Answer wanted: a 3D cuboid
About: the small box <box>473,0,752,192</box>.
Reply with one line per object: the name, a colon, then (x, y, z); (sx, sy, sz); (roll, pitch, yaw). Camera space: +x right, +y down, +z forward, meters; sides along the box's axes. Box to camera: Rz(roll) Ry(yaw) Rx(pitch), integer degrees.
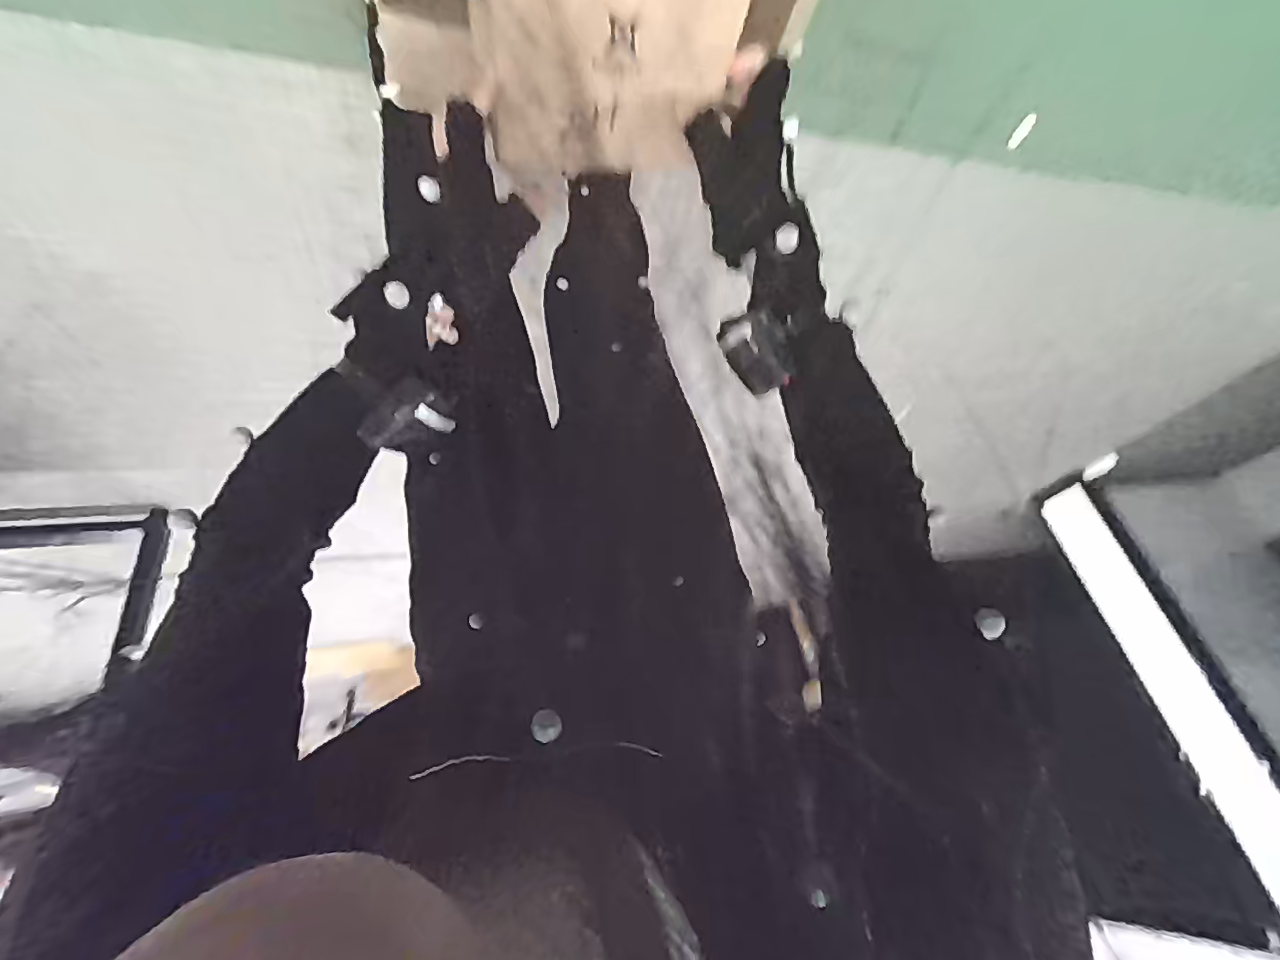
small box: (-0.035, -0.348, 0.400); (0.168, 0.176, 0.179); (-7, 157, -15)
